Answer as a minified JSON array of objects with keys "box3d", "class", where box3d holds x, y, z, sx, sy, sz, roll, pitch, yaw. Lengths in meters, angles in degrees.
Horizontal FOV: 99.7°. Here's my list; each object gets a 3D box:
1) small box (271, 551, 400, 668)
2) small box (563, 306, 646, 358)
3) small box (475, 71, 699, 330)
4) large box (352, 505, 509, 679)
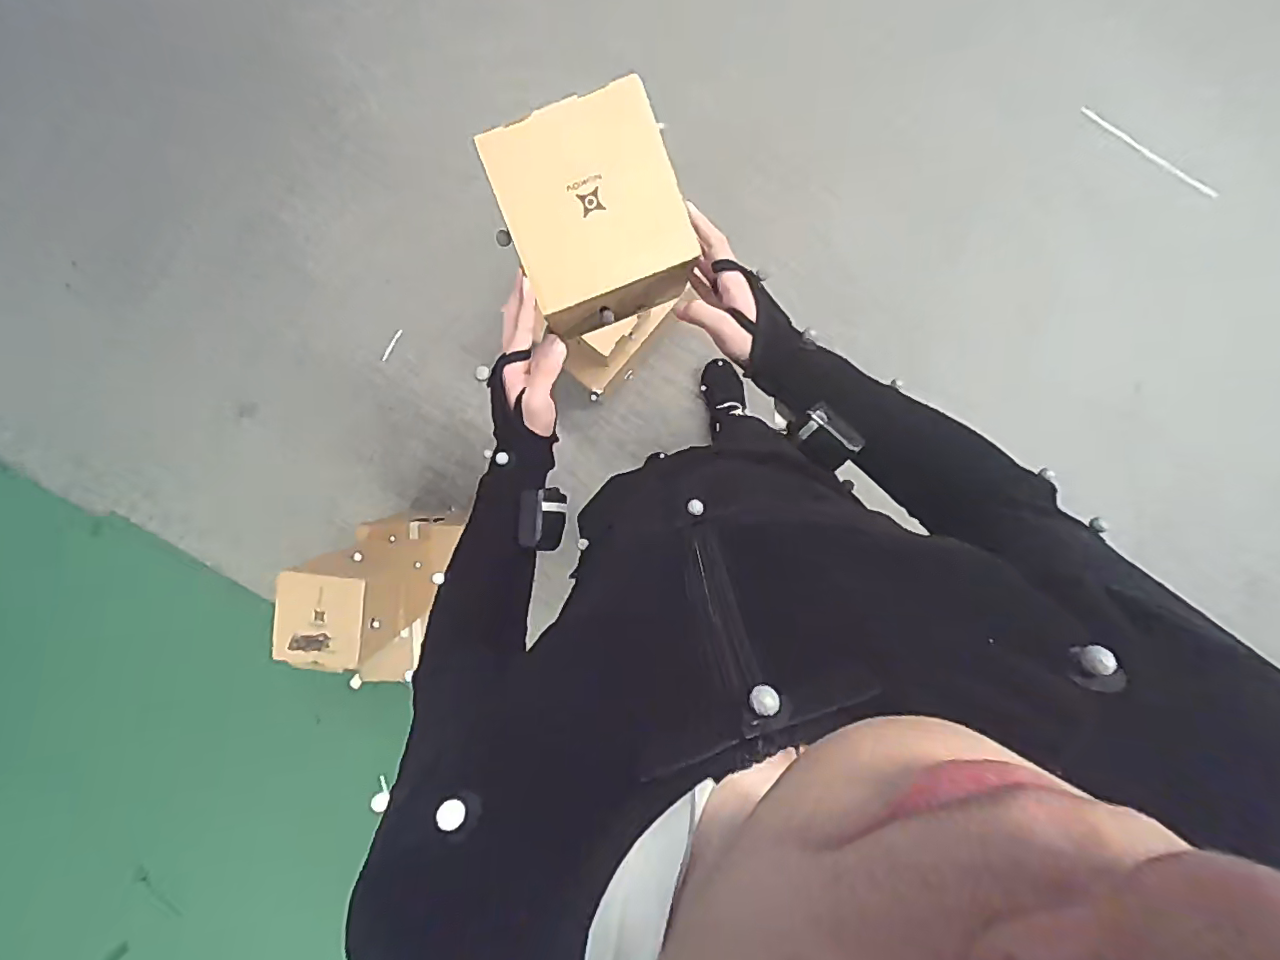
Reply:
[{"box3d":[-0.601,0.253,1.086,0.168,0.176,0.179,6,94,-1],"class":"small box"},{"box3d":[-0.097,-0.388,1.204,0.179,0.176,0.168,38,93,-5],"class":"small box"},{"box3d":[-0.048,-0.274,0.581,0.168,0.176,0.179,-21,95,1],"class":"small box"},{"box3d":[-0.556,0.291,1.501,0.320,0.320,0.408,-1,95,1],"class":"large box"}]
